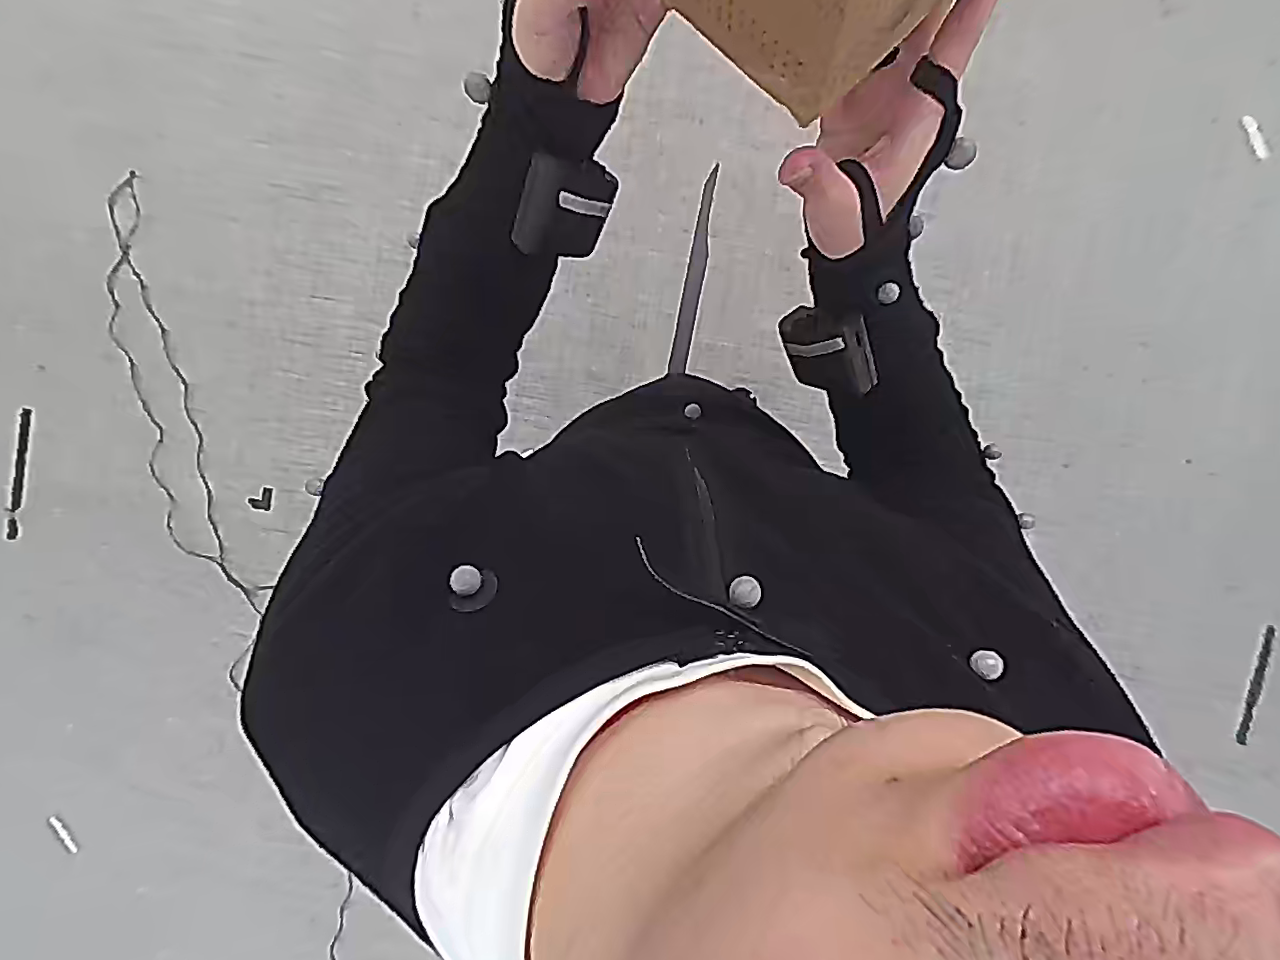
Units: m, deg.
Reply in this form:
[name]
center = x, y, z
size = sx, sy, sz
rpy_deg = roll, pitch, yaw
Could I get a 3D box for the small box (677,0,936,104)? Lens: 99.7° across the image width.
[small box]
center = 0.066, -0.280, 0.173
size = 0.179, 0.176, 0.168
rpy_deg = 44, 96, 4
